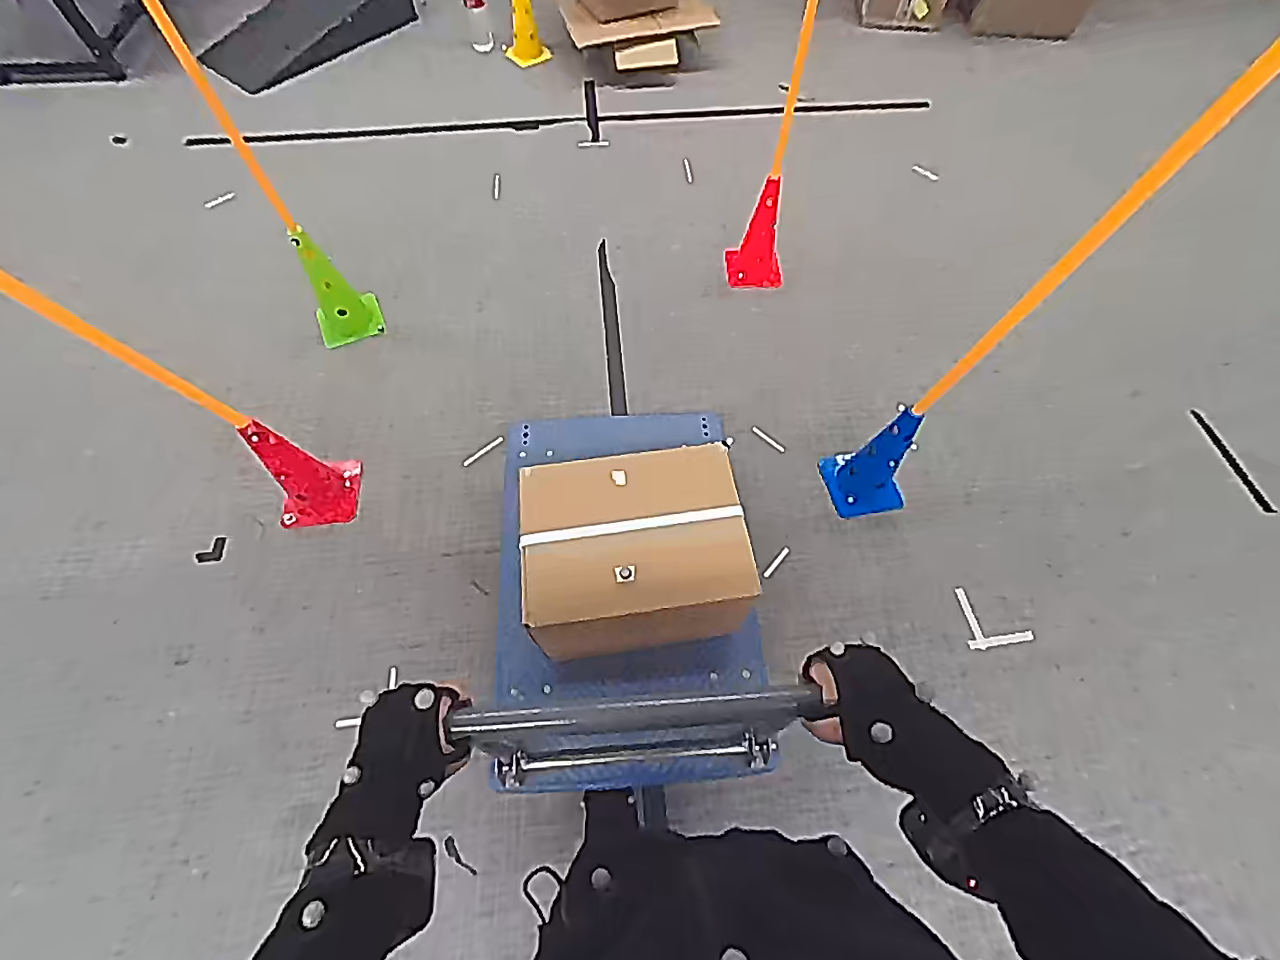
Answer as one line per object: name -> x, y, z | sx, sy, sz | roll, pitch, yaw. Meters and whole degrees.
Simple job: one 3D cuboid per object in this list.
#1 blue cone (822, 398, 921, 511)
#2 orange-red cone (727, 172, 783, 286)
blue cone -> 0.647, -0.080, 1.434 | 0.193, 0.380, 0.192 | -8, 61, -6
orange-red cone -> 0.426, -0.867, 1.838 | 0.199, 0.360, 0.198 | 1, 62, -1
